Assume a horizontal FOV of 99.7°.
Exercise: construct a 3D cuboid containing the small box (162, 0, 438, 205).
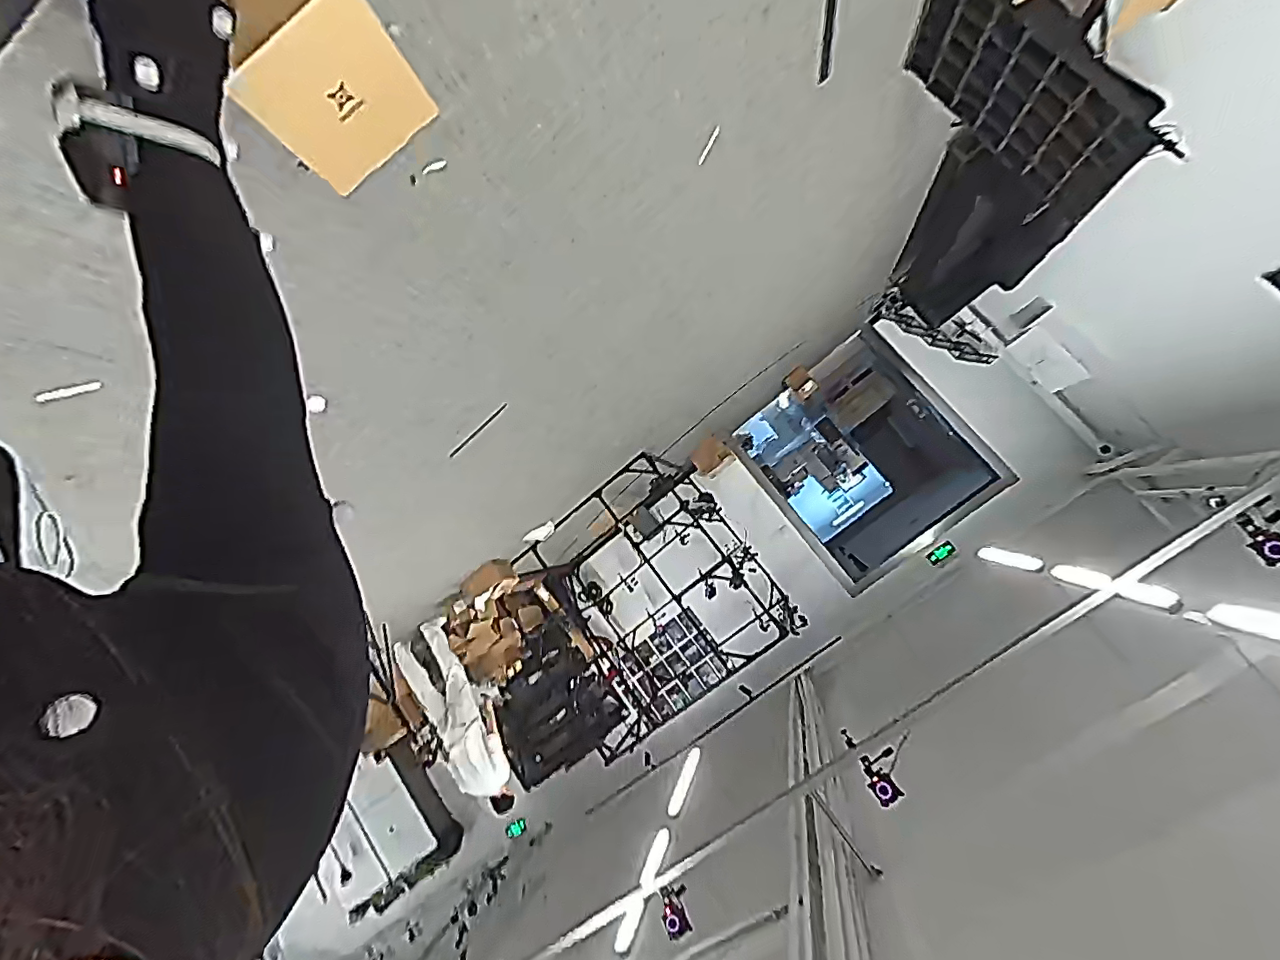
[{"bbox_3d":[-0.380,-0.473,0.621,0.168,0.176,0.179,-40,170,4],"label":"small box"}]
